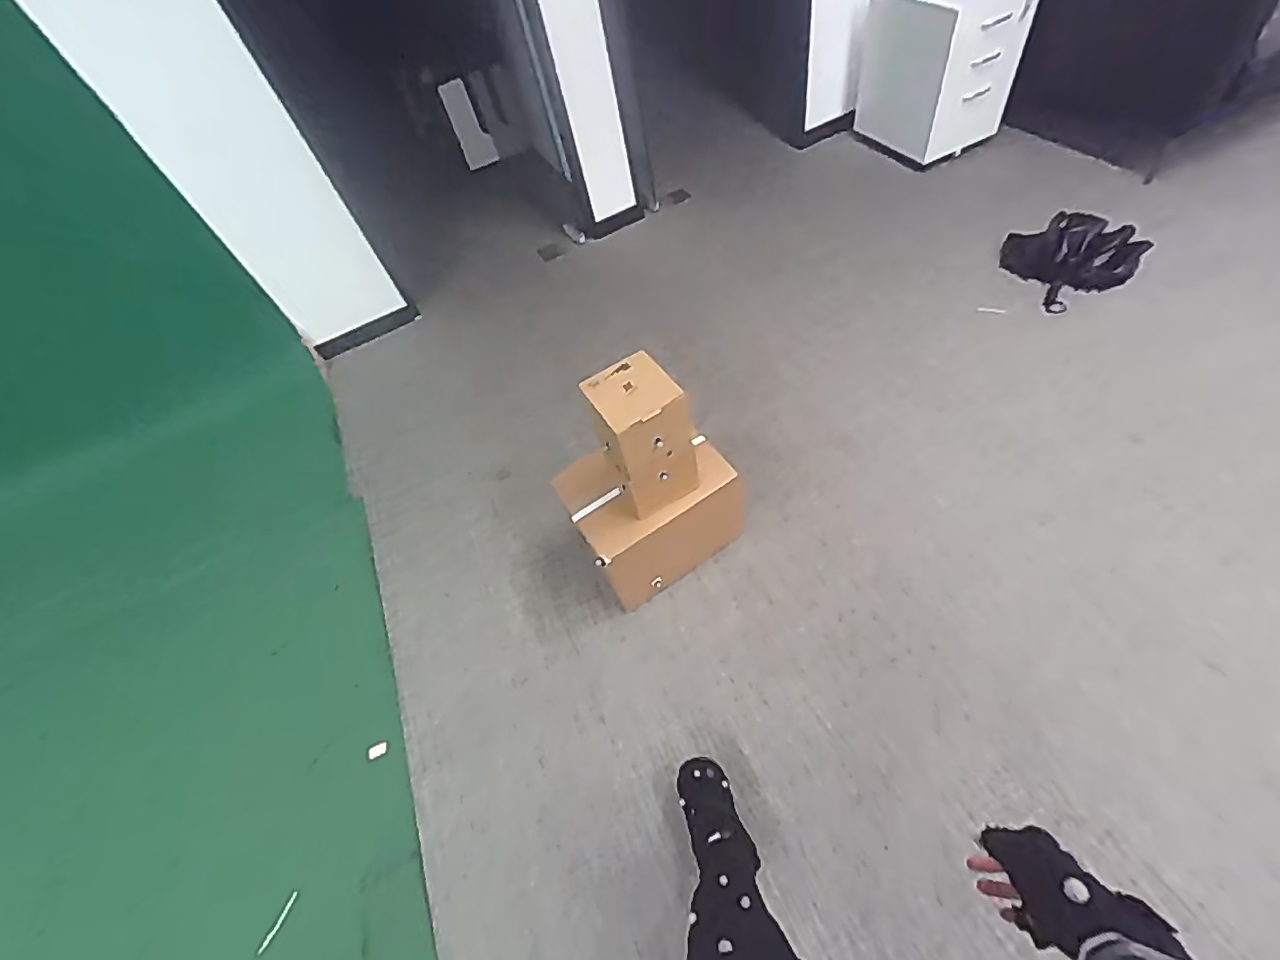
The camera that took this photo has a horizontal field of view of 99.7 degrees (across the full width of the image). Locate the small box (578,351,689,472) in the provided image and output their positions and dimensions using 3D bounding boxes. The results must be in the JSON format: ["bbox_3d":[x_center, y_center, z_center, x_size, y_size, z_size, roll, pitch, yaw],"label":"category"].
[{"bbox_3d":[-0.007,-0.140,1.180,0.168,0.176,0.179,-30,56,-9],"label":"small box"}]

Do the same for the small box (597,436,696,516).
[{"bbox_3d":[0.022,-0.044,1.309,0.179,0.176,0.168,-29,55,-10],"label":"small box"}]
